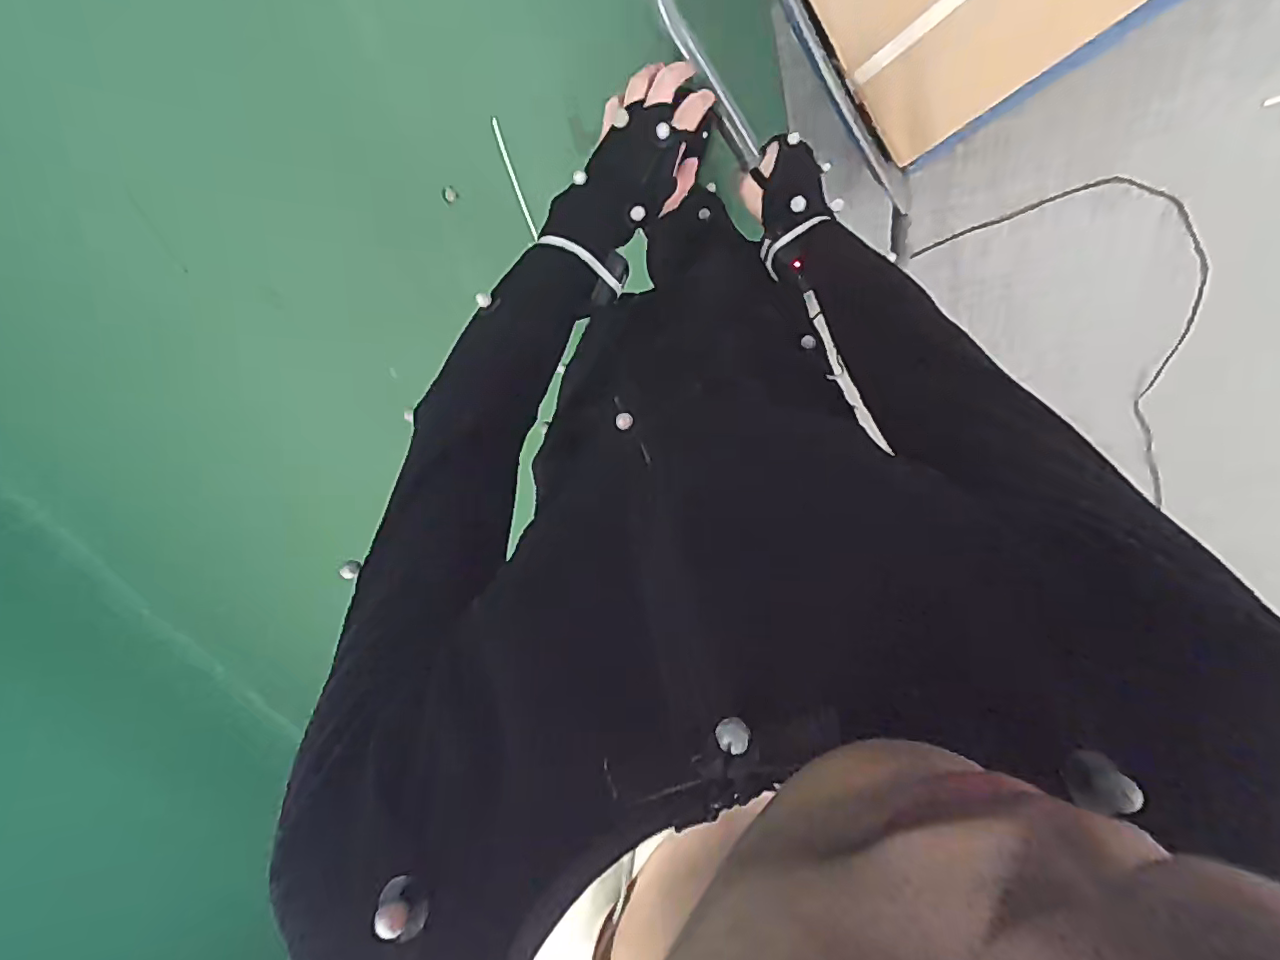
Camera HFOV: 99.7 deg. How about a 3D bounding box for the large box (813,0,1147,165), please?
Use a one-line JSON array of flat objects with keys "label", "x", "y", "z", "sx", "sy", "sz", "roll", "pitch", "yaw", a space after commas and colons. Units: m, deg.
[{"label": "large box", "x": 0.510, "y": -0.771, "z": 0.802, "sx": 0.408, "sy": 0.320, "sz": 0.320, "roll": -25, "pitch": 119, "yaw": 37}]
